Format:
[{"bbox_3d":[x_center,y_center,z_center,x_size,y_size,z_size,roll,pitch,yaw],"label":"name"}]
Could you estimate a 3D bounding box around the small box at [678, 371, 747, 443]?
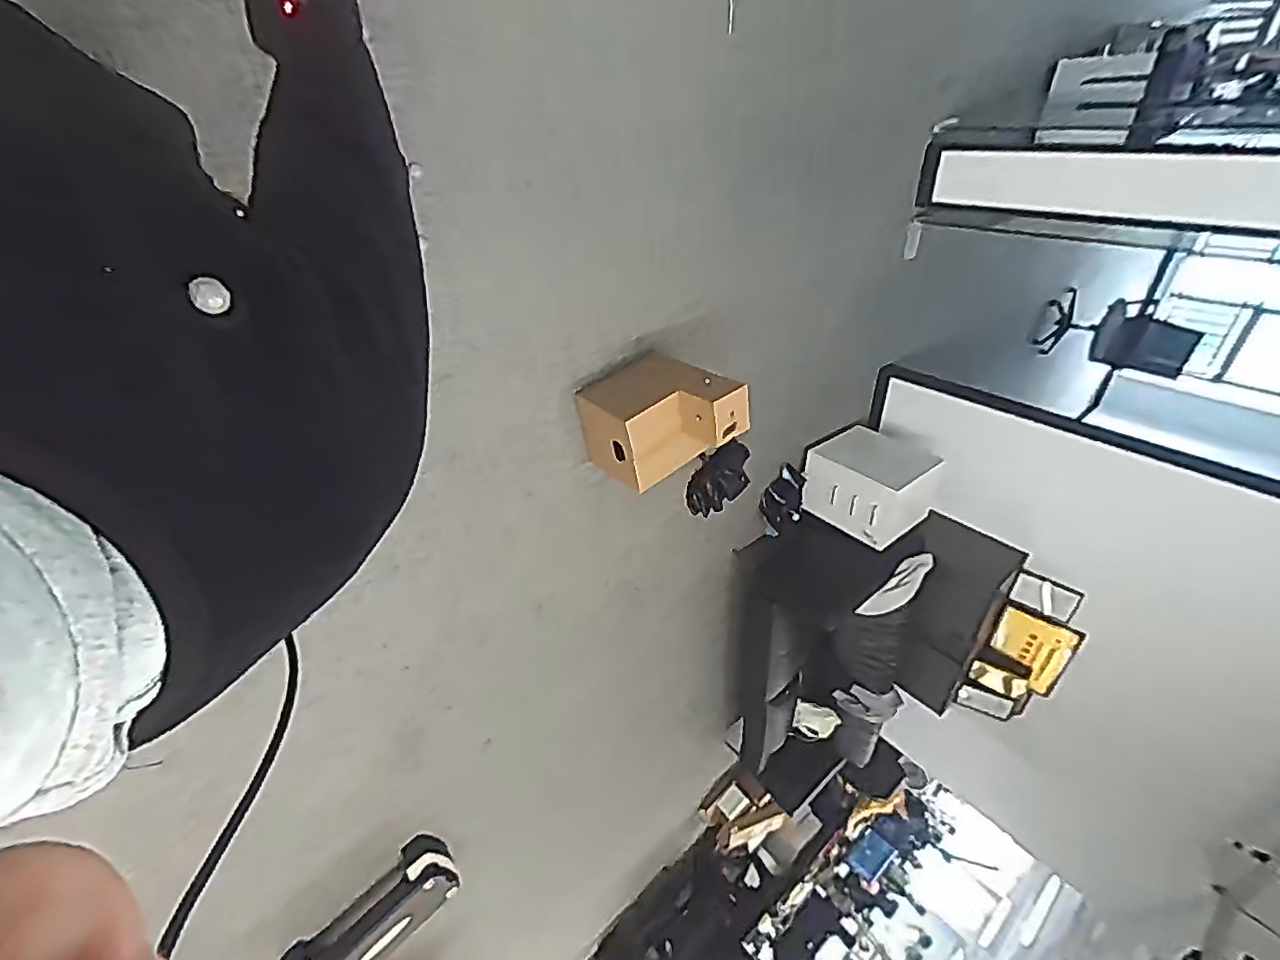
[{"bbox_3d":[0.251,-0.258,1.875,0.168,0.176,0.179,-32,129,-28],"label":"small box"}]
